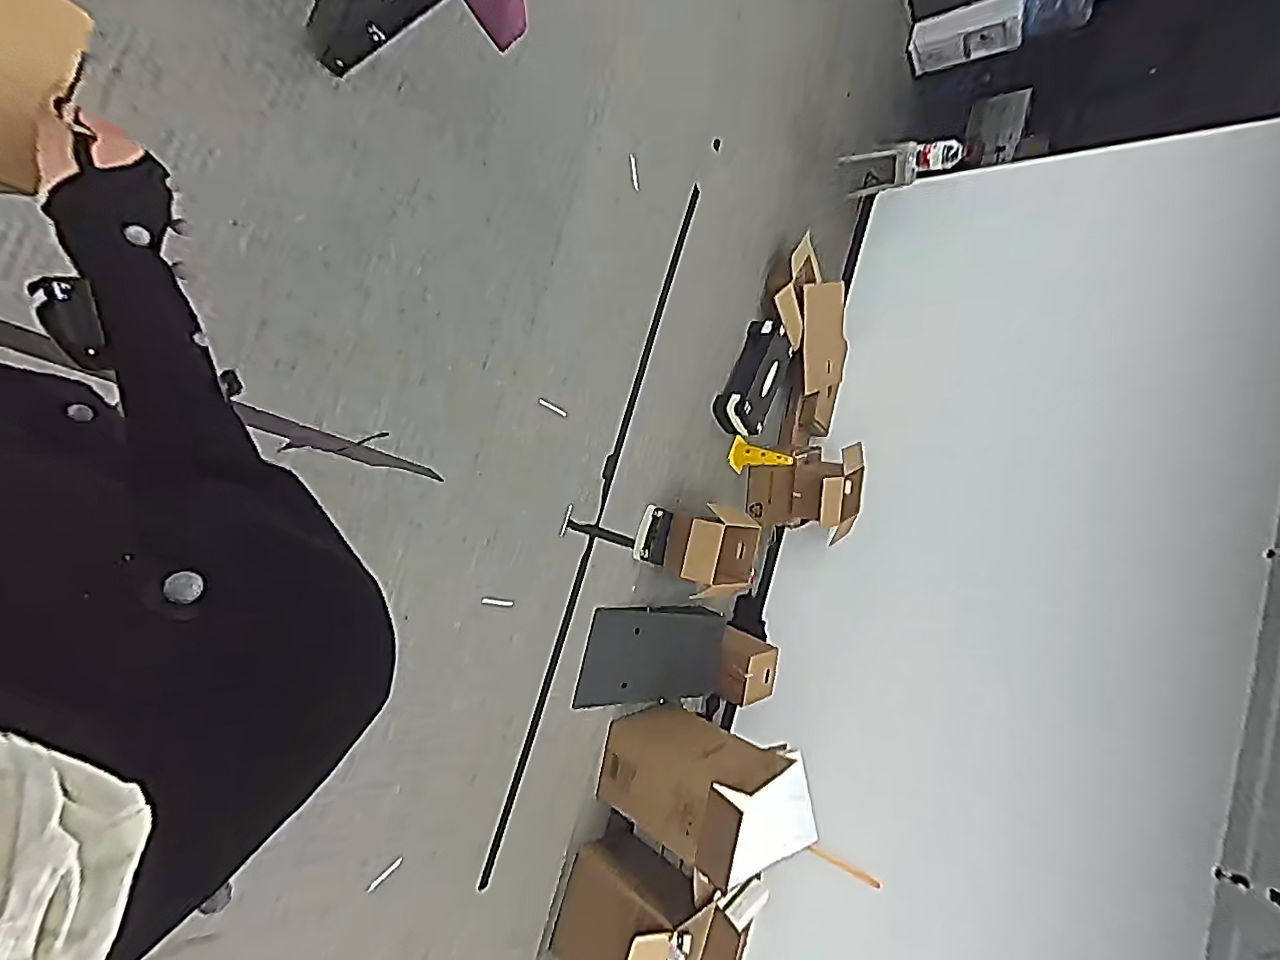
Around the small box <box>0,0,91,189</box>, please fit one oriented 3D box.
[{"bbox_3d":[-0.611,-0.368,0.436,0.179,0.176,0.168,20,91,-60],"label":"small box"}]
